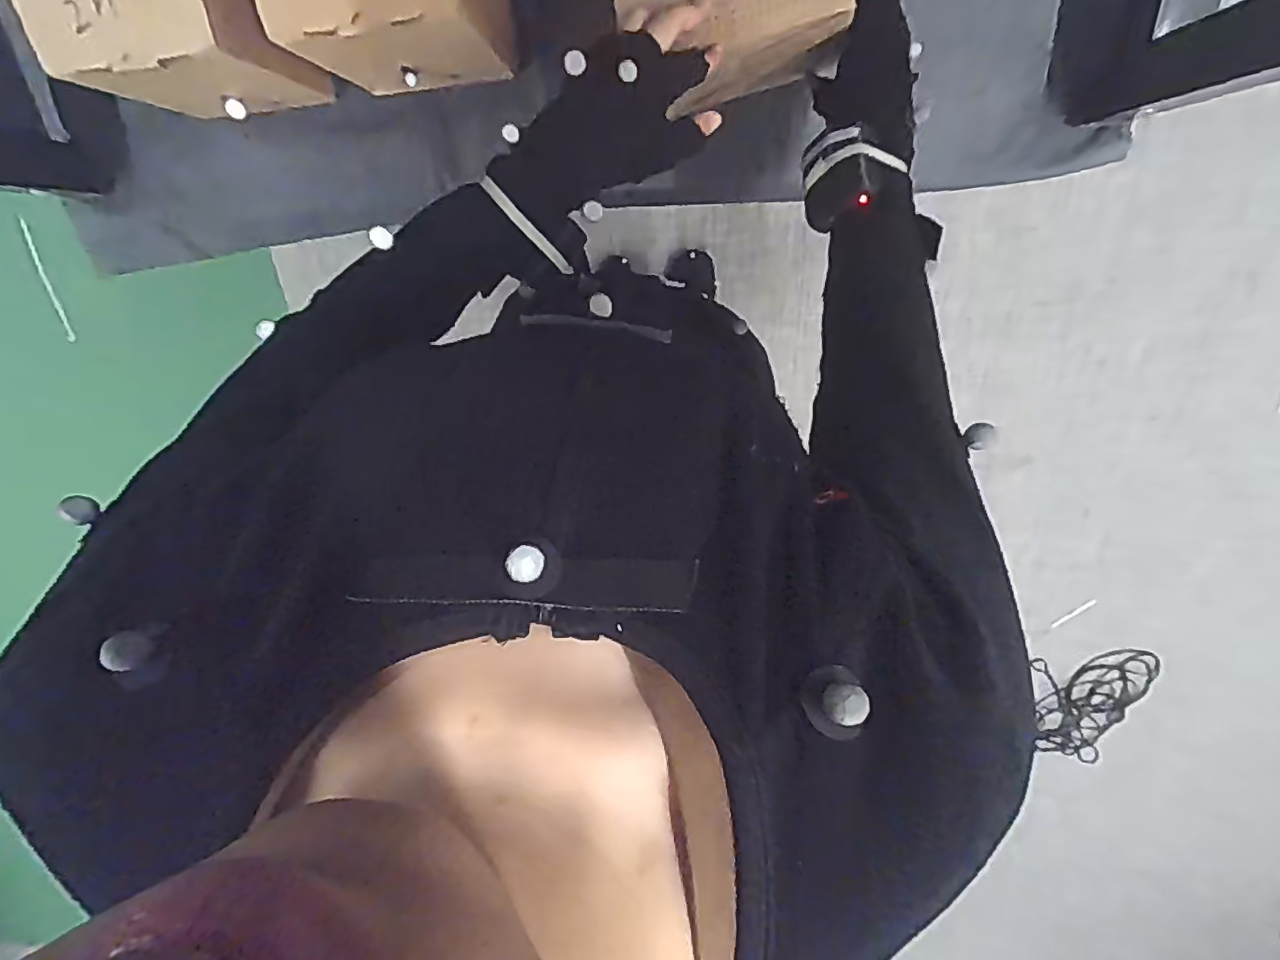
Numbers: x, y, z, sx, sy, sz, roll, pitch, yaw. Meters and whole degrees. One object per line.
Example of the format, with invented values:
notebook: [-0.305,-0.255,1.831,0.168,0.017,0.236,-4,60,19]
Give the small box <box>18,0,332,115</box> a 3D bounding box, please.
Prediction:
small box: [-0.426,-0.464,0.496,0.168,0.176,0.179,-3,113,6]
